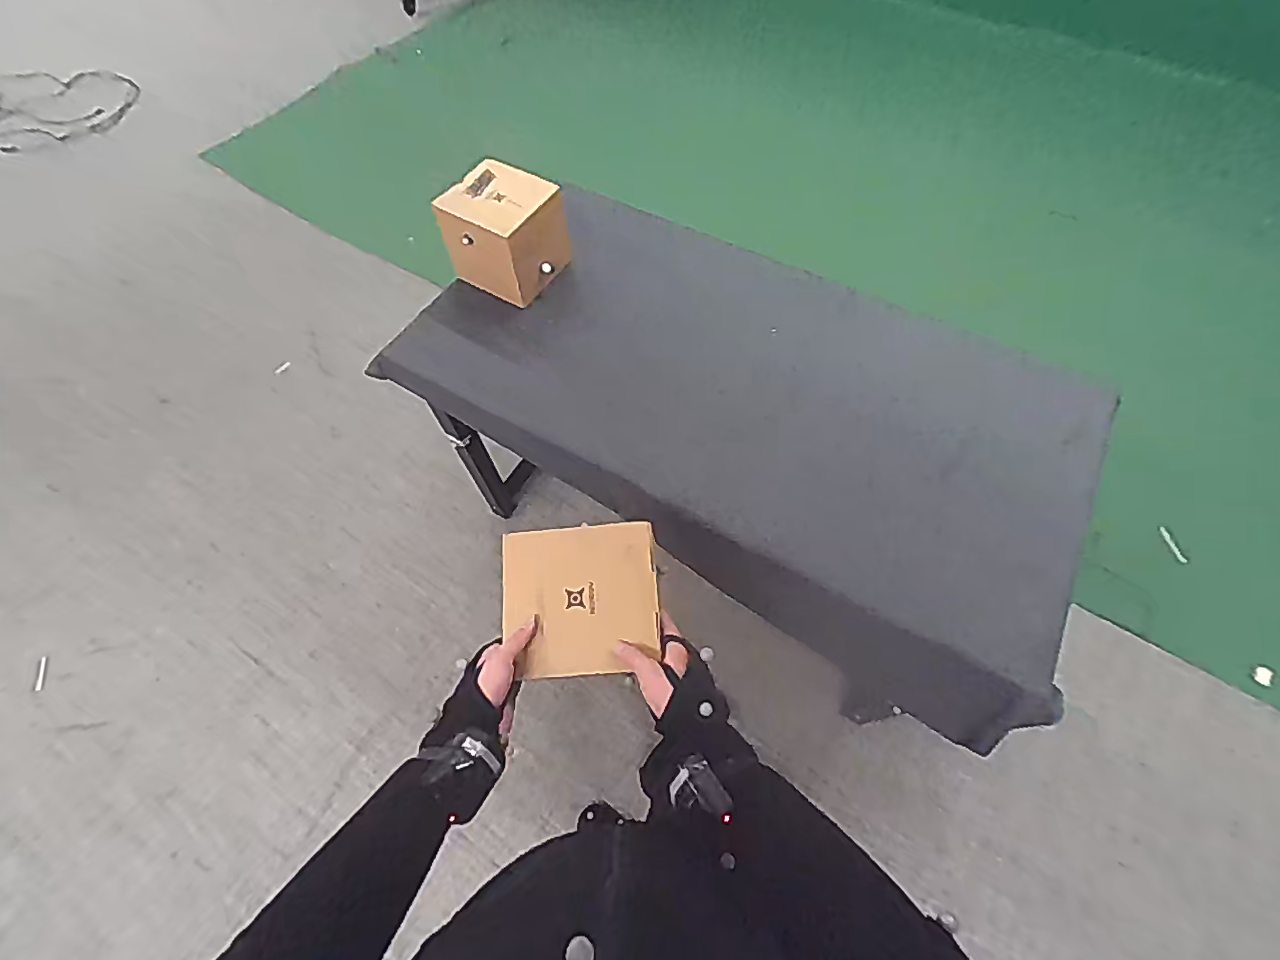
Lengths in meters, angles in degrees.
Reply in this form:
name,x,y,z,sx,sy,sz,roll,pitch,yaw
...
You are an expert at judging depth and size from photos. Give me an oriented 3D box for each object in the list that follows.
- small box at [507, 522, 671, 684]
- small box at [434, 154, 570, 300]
name,x,y,z,sx,sy,sz,roll,pitch,yaw
small box,-0.055,0.157,0.668,0.179,0.176,0.168,-6,70,3
small box,-0.255,-0.480,1.041,0.179,0.176,0.168,29,66,13
